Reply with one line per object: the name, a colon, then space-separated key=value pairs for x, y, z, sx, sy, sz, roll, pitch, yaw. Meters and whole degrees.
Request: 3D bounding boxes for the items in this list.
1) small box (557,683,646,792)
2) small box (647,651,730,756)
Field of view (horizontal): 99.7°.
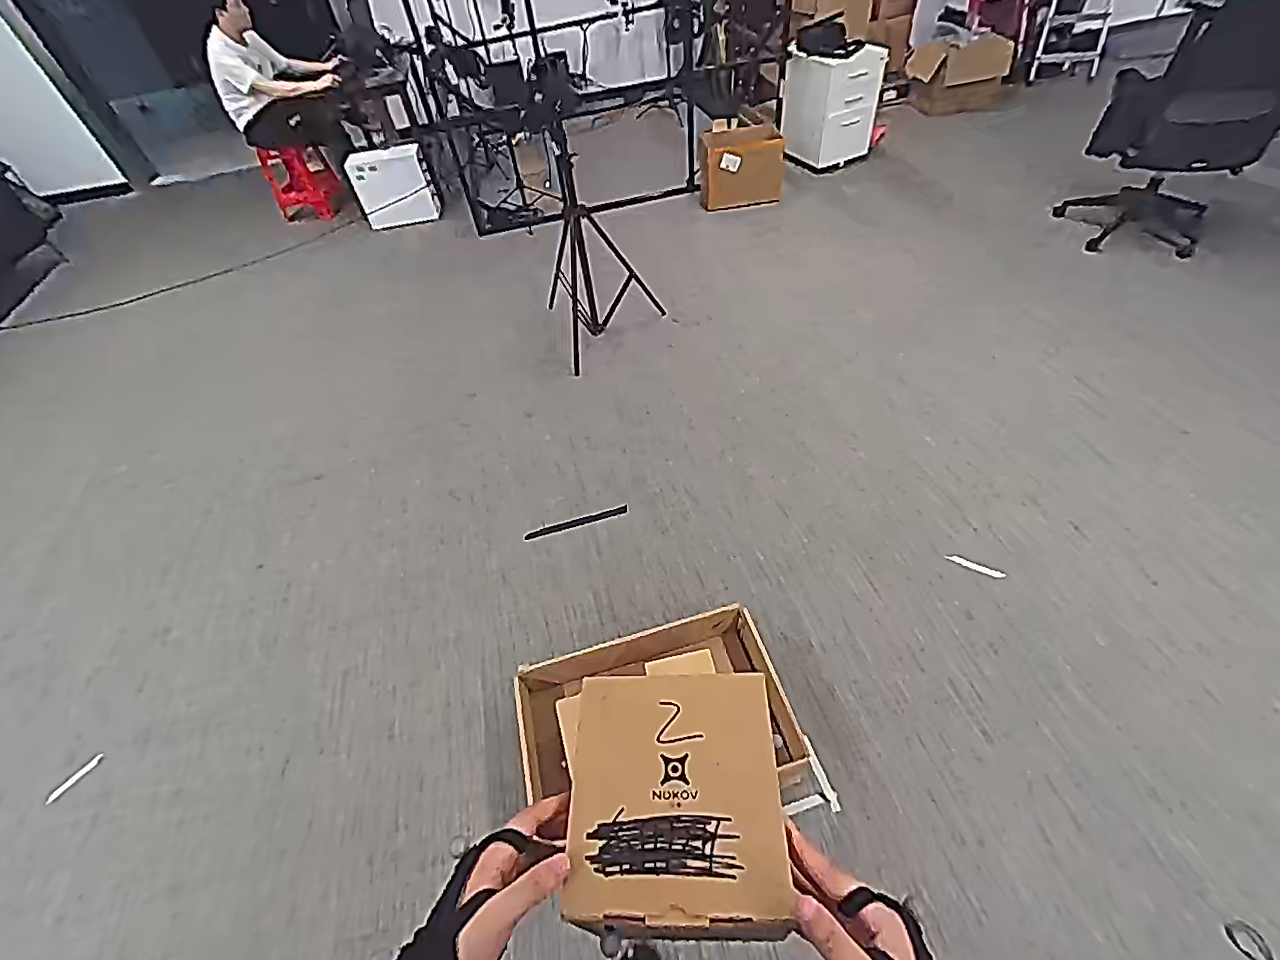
small box: x=-0.088 y=0.614 z=1.280 sx=0.168 sy=0.176 sz=0.179 roll=-15 pitch=49 yaw=-8
small box: x=0.115 y=0.546 z=1.317 sx=0.168 sy=0.176 sz=0.179 roll=-12 pitch=49 yaw=-2
